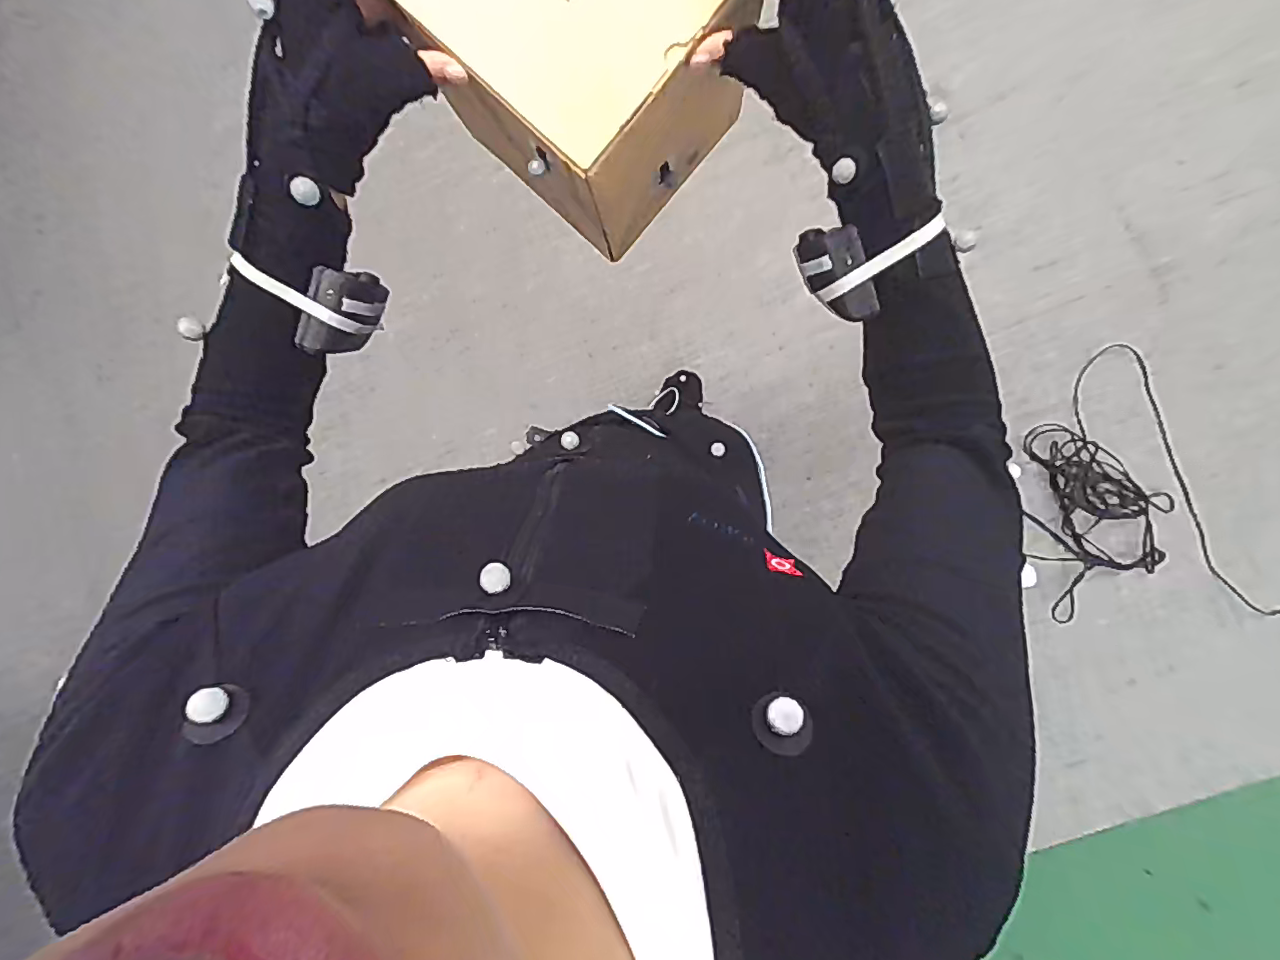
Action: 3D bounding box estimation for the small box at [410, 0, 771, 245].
[{"bbox_3d":[-0.031,-0.310,0.397,0.179,0.176,0.168,42,96,-1],"label":"small box"}]
